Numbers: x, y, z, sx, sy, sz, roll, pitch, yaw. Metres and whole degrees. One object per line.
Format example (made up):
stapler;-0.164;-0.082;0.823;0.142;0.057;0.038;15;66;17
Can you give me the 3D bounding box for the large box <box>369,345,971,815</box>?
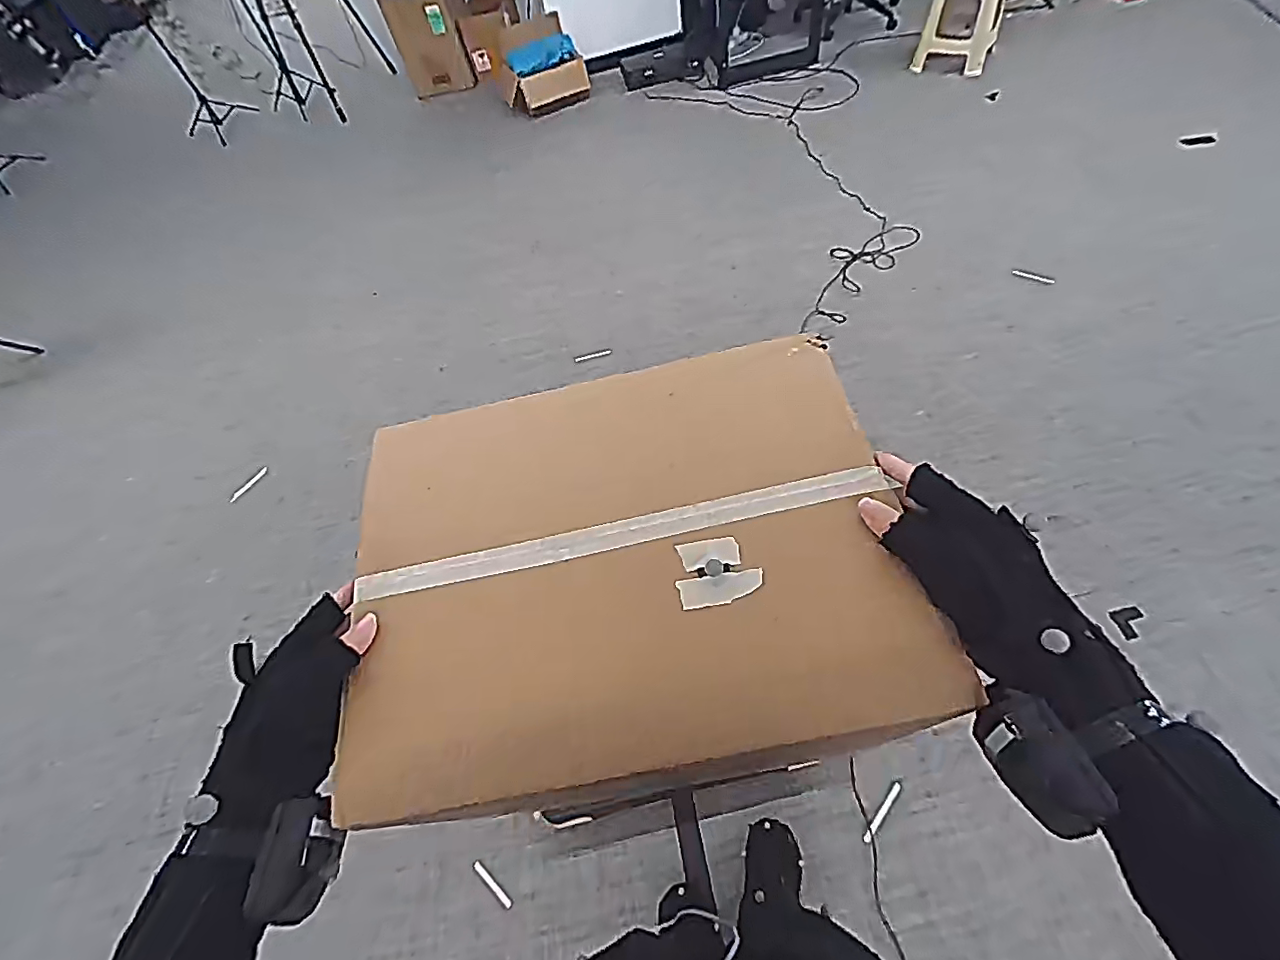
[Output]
large box;0.011;0.121;0.546;0.408;0.320;0.320;-12;59;2
